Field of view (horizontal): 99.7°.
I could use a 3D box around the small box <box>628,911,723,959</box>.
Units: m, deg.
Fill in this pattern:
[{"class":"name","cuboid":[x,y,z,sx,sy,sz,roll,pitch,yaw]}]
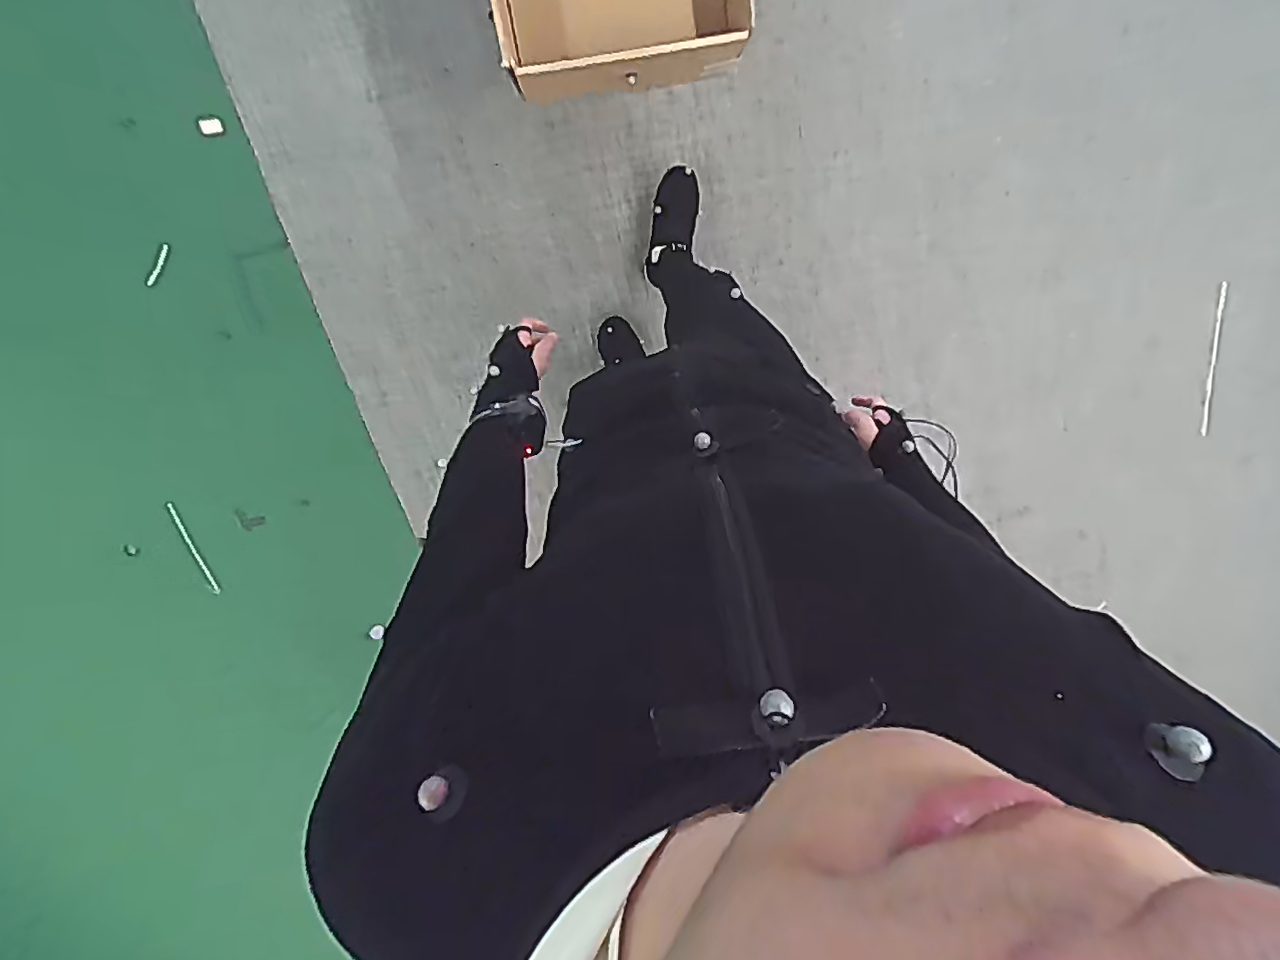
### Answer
[{"class":"small box","cuboid":[0.085,1.111,1.205,0.168,0.176,0.179,-33,109,8]}]
